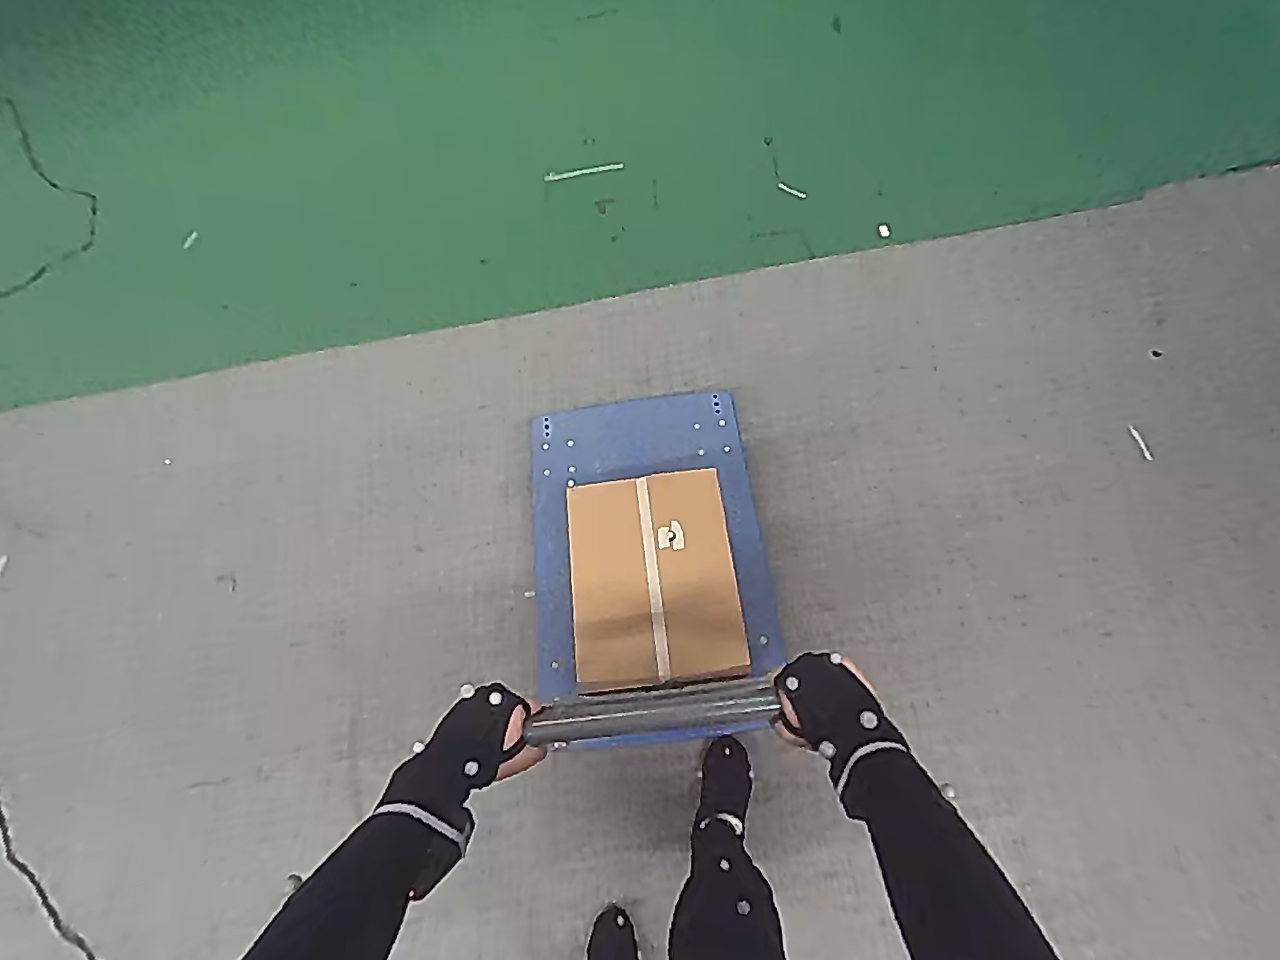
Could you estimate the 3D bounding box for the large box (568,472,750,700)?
[{"bbox_3d":[0.036,0.243,1.175,0.320,0.320,0.408,-7,66,2],"label":"large box"}]
